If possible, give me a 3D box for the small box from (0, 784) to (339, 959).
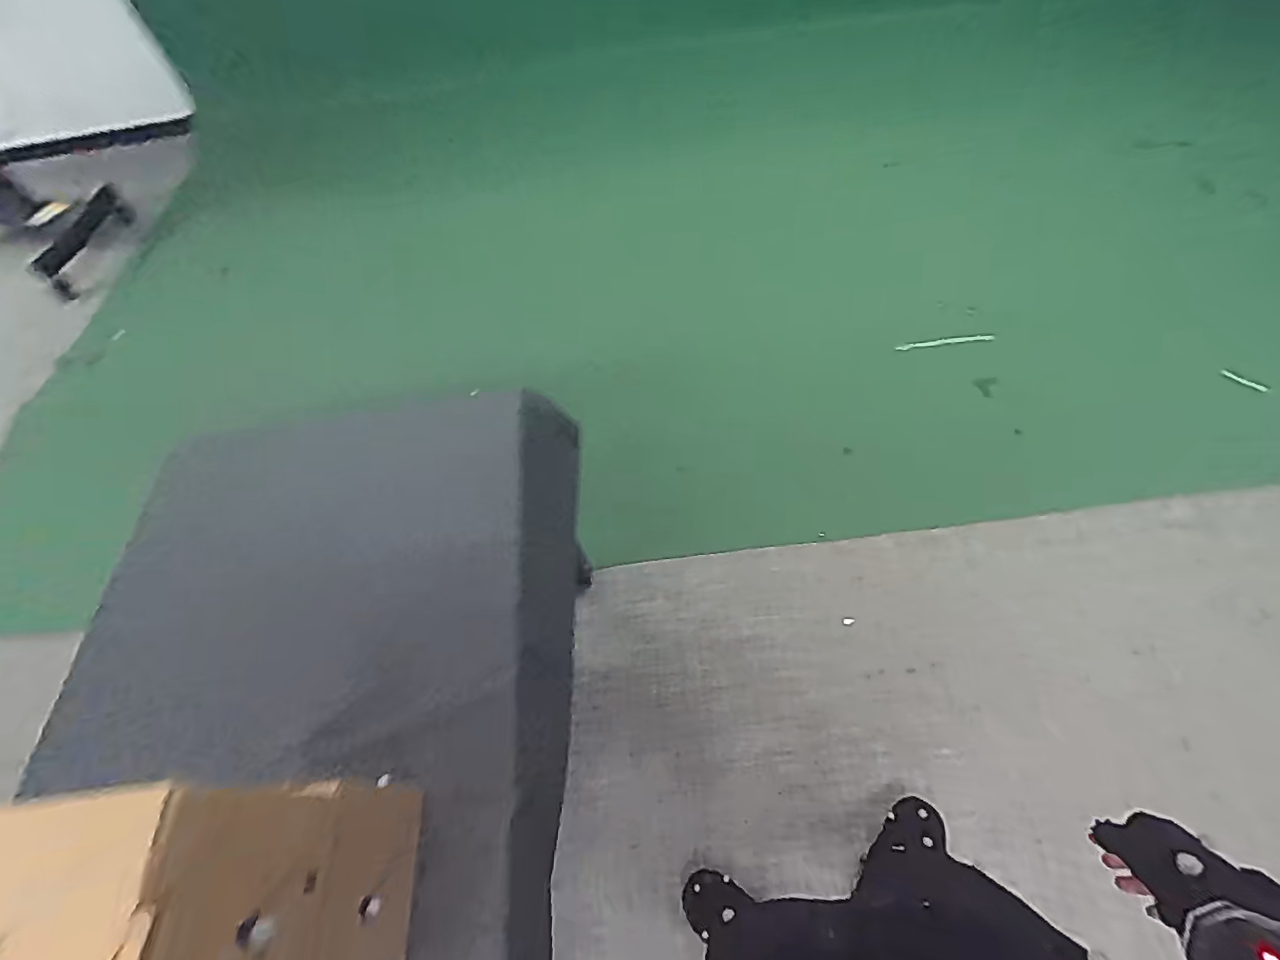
[{"bbox_3d":[-0.338,0.307,0.361,0.179,0.176,0.168,-9,58,1],"label":"small box"}]
